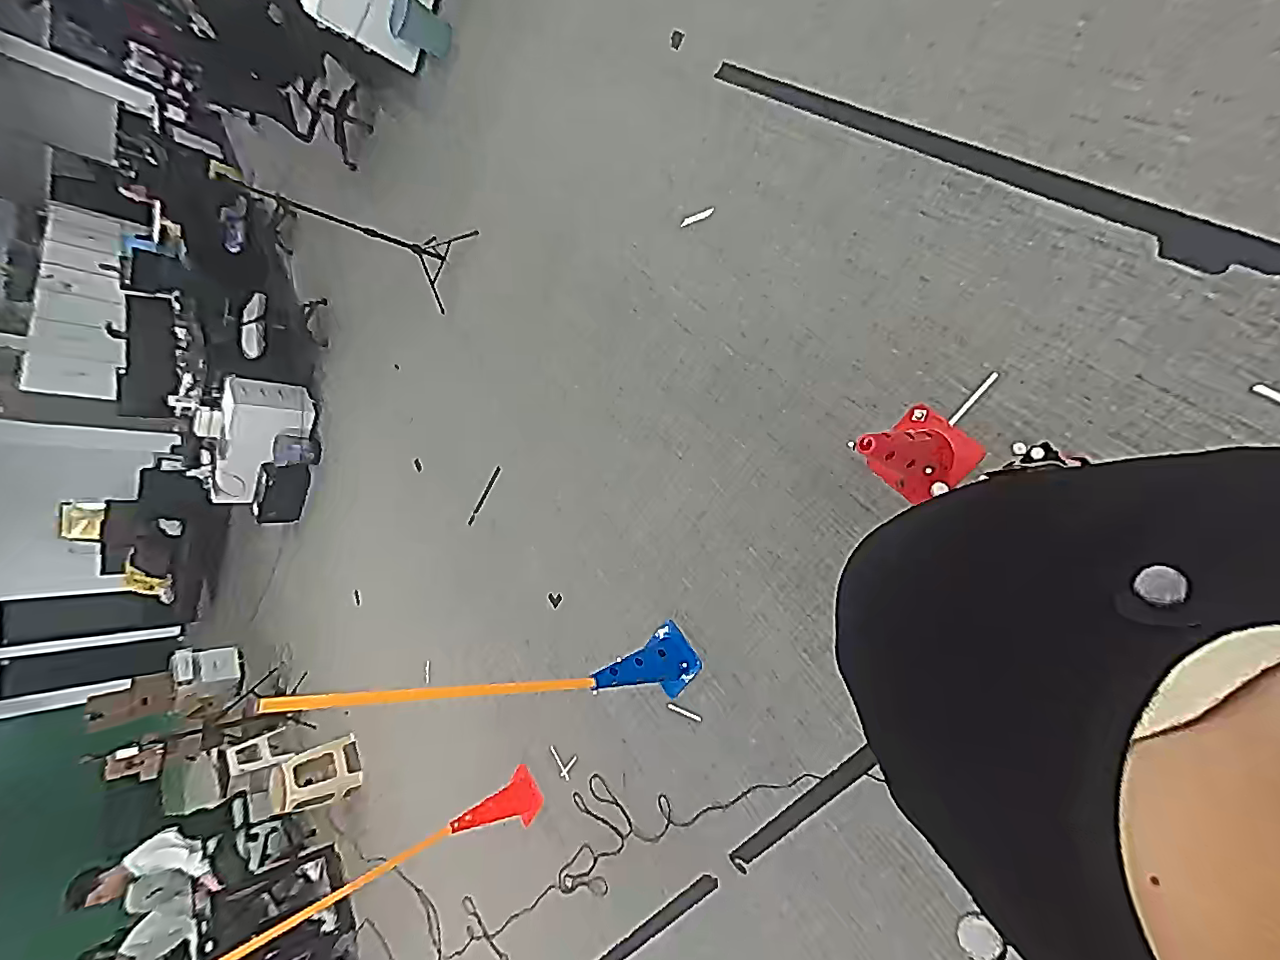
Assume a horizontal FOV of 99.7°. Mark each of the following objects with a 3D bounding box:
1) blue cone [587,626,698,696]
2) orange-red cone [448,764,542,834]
[{"bbox_3d":[-0.009,0.605,1.716,0.193,0.380,0.192,53,123,32],"label":"blue cone"},{"bbox_3d":[-0.619,1.371,2.241,0.199,0.360,0.198,44,118,34],"label":"orange-red cone"}]
